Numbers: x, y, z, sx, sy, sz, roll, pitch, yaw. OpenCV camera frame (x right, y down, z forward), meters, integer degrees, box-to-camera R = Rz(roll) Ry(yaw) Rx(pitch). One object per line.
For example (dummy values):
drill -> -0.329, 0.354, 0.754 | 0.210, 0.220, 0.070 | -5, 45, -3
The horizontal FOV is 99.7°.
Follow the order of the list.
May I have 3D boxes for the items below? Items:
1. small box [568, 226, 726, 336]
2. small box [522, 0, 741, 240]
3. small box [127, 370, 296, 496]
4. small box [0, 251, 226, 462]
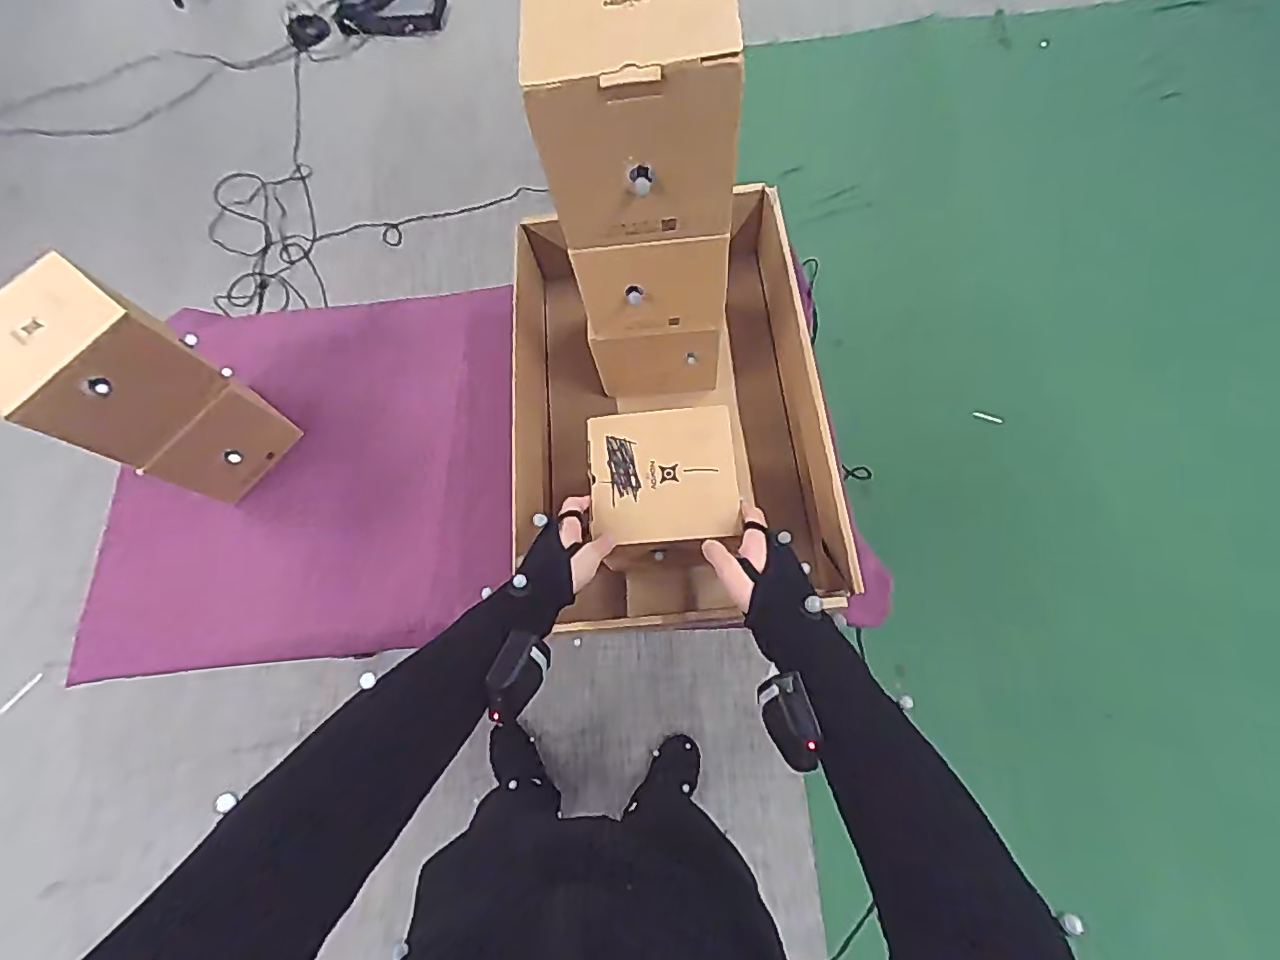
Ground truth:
small box -> 0.012, -0.288, 0.646 | 0.168, 0.176, 0.179 | -4, 71, 4
small box -> -0.002, -0.342, 0.492 | 0.168, 0.176, 0.179 | -4, 72, 4
small box -> -0.708, -0.093, 0.866 | 0.179, 0.176, 0.168 | 35, 76, 15
small box -> -0.715, -0.152, 0.714 | 0.168, 0.176, 0.179 | 36, 77, 14
